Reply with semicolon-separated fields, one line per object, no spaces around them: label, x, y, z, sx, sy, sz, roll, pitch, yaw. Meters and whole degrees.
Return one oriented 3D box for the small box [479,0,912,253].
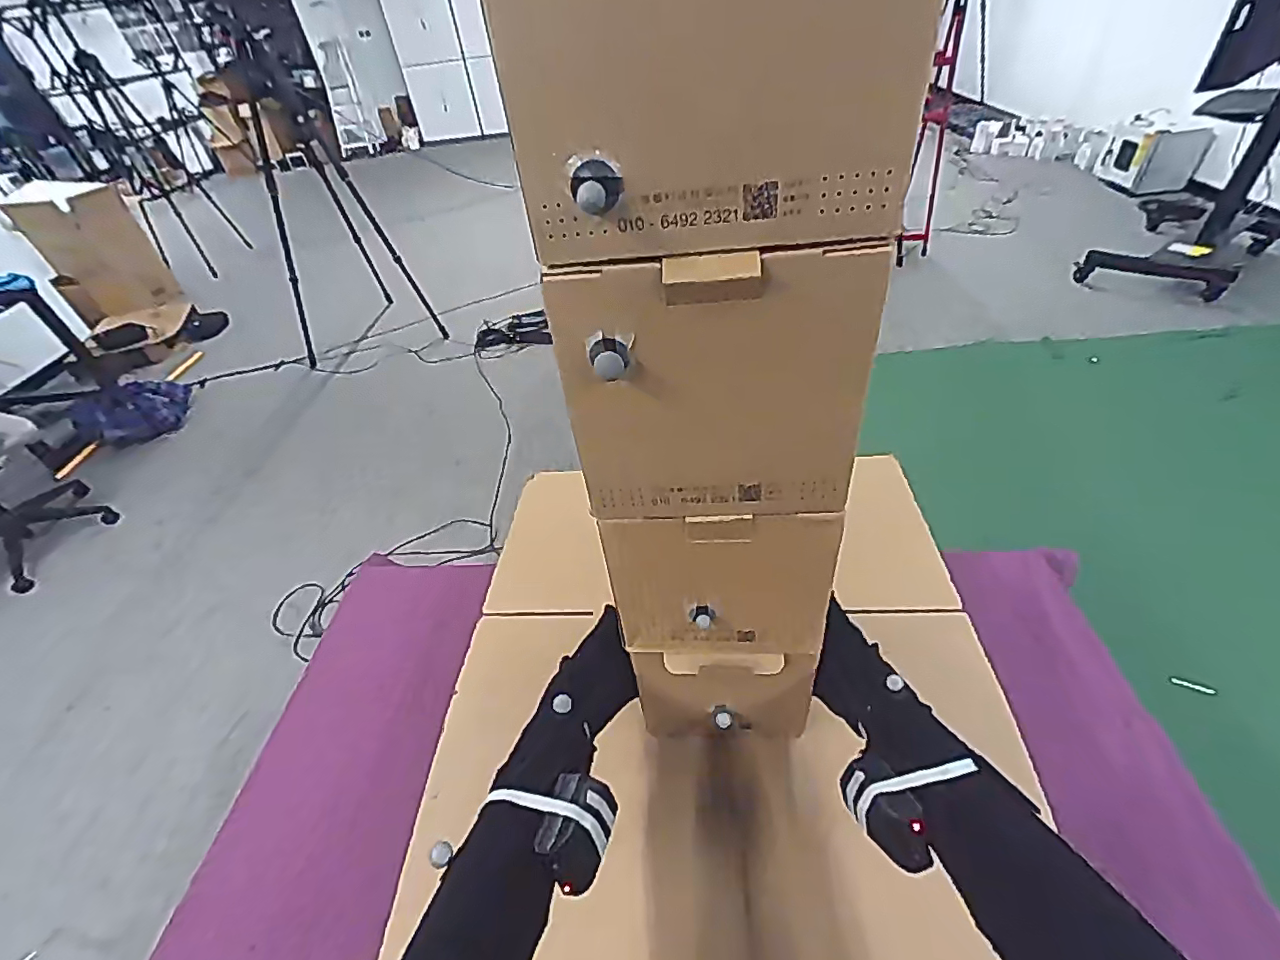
small box;0.027;-0.221;0.267;0.168;0.176;0.179;-2;40;7

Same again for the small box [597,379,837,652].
small box;0.063;0.029;0.479;0.168;0.176;0.179;-2;42;7

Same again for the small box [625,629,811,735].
small box;0.082;0.150;0.586;0.168;0.176;0.179;-3;41;7
